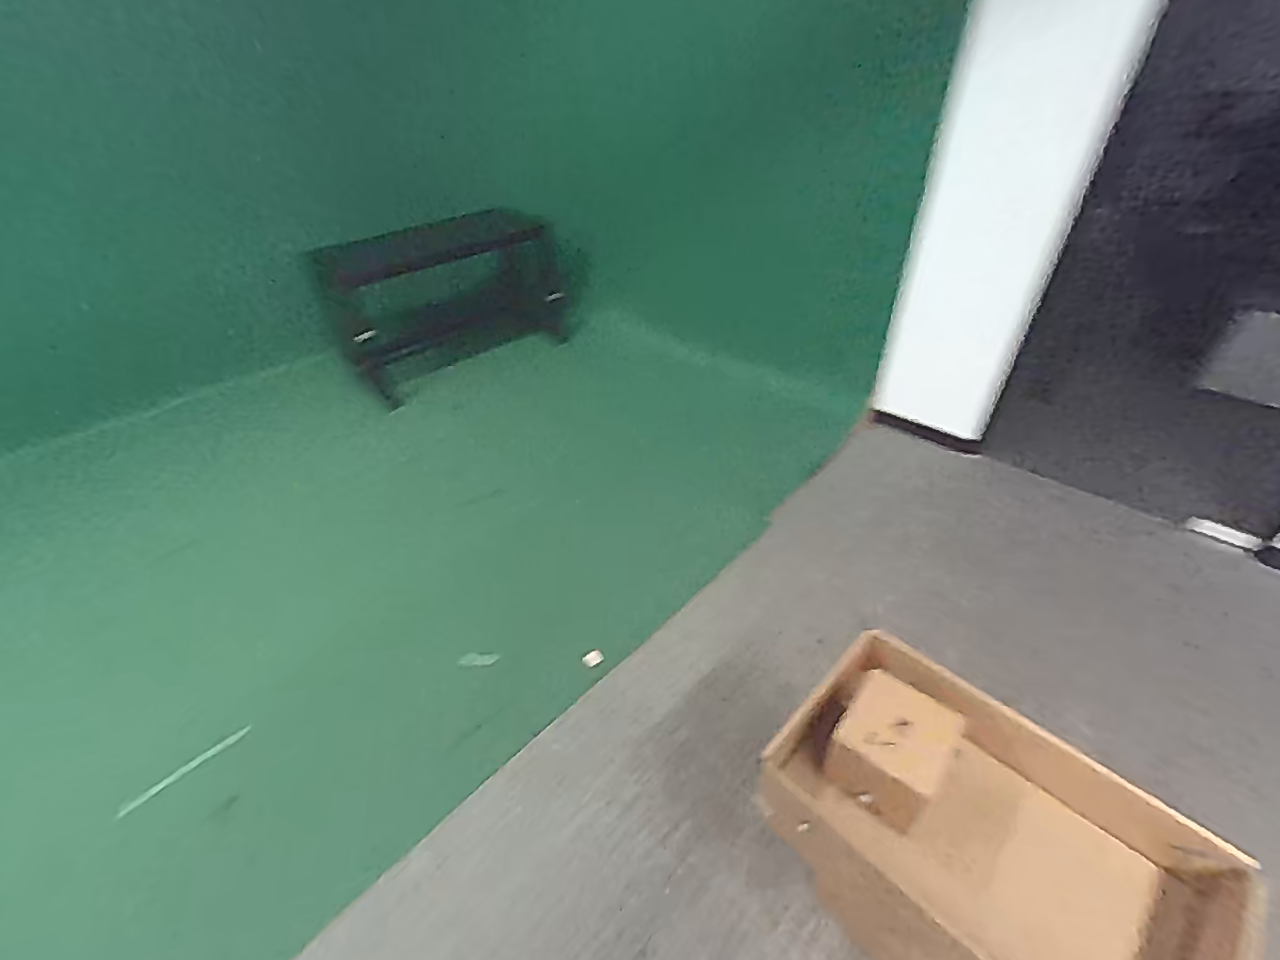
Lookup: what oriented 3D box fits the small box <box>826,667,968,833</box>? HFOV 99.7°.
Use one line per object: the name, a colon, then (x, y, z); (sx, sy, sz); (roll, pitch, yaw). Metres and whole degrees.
small box: (0.460, 0.489, 0.986); (0.168, 0.176, 0.179); (28, 48, 34)
